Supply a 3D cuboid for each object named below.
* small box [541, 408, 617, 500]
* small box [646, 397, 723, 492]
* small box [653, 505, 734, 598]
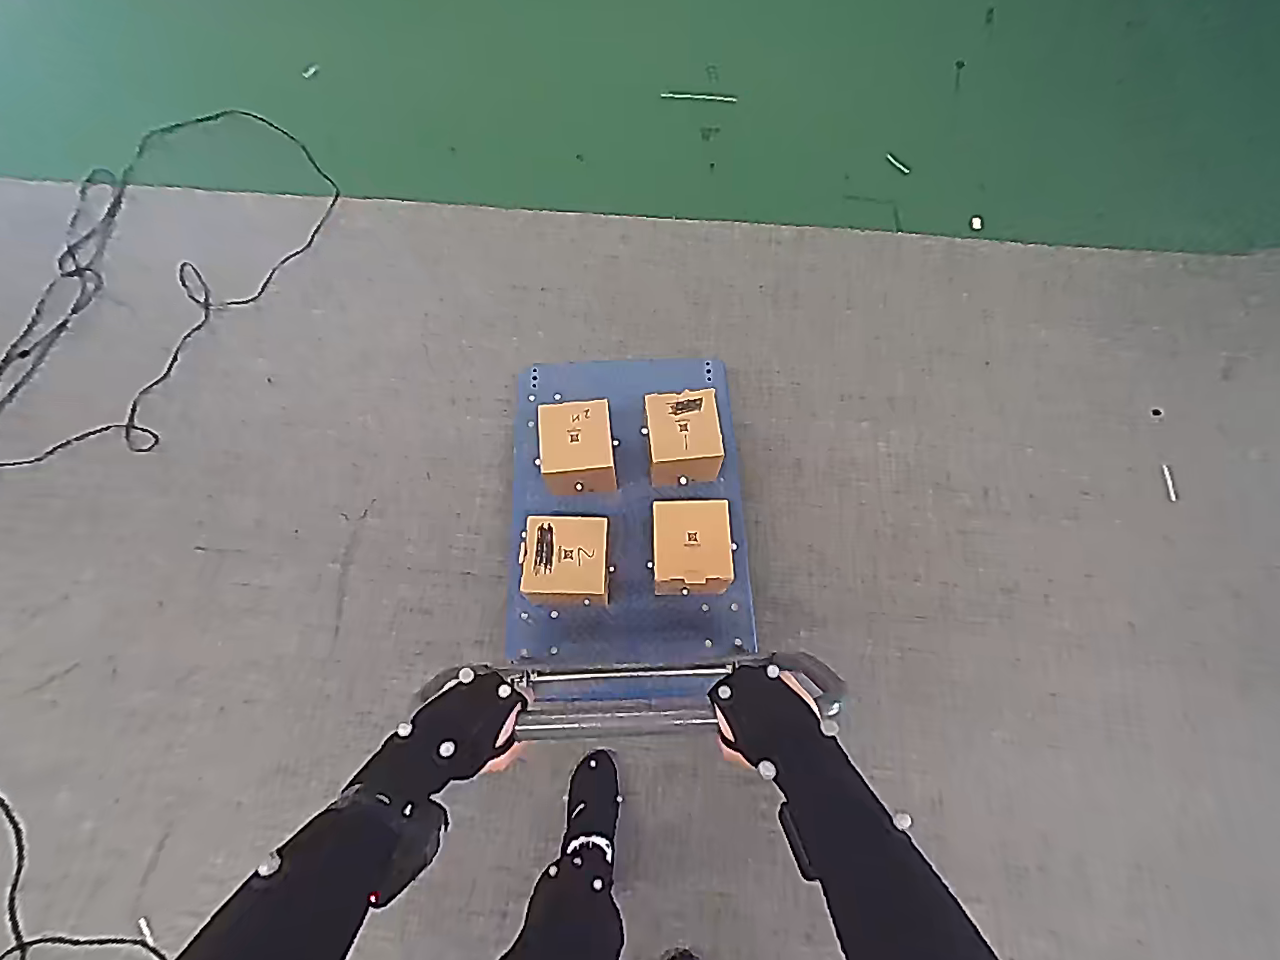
[{"bbox_3d":[-0.147,-0.057,1.333,0.168,0.176,0.179,-5,69,-3],"label":"small box"},{"bbox_3d":[0.103,-0.084,1.341,0.168,0.176,0.179,-6,69,-1],"label":"small box"},{"bbox_3d":[0.115,0.168,1.243,0.168,0.176,0.179,-2,69,0],"label":"small box"}]
